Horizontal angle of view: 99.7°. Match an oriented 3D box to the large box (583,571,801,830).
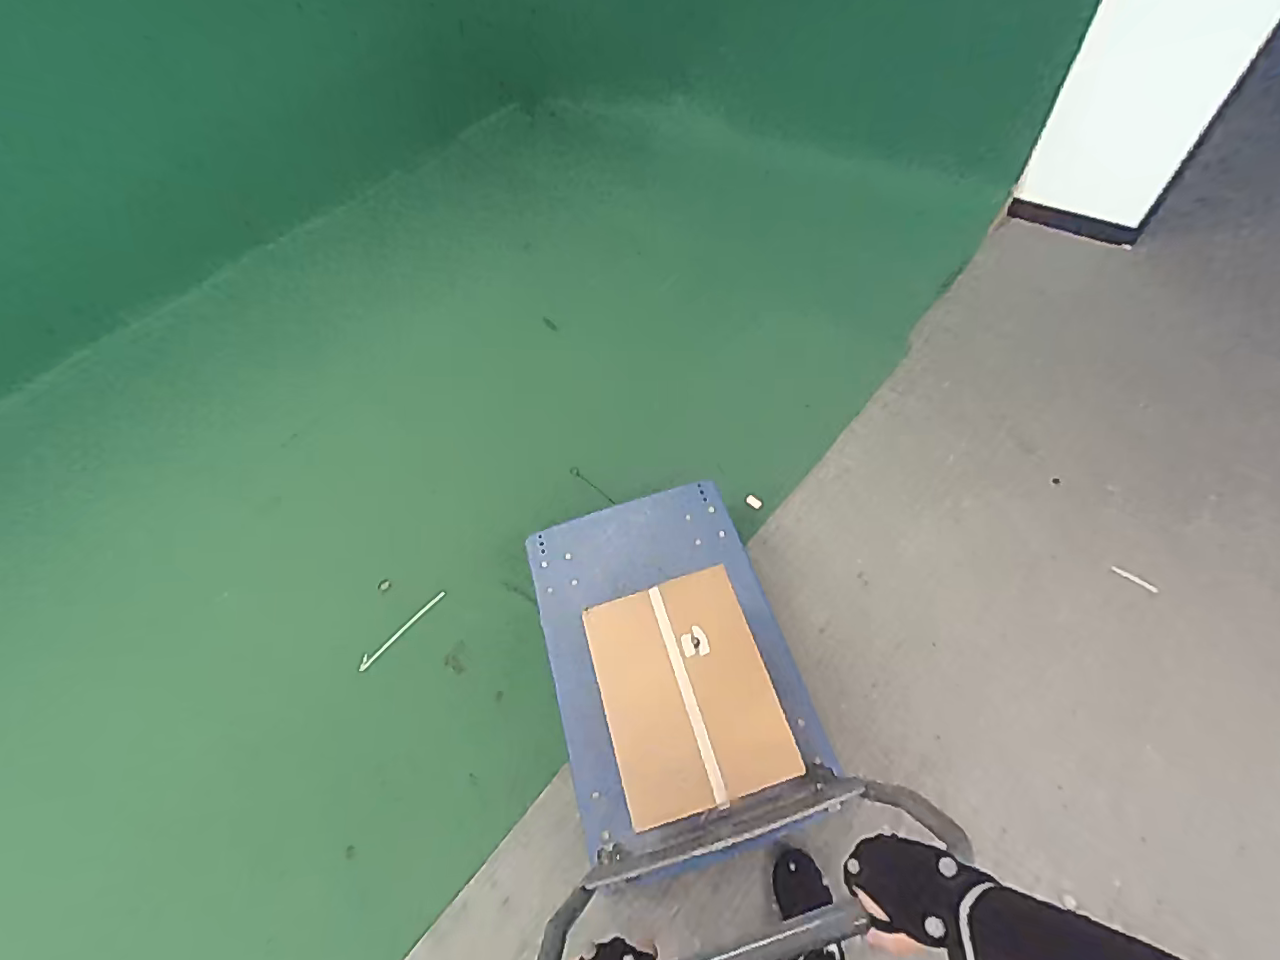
[{"bbox_3d":[0.102,0.470,1.162,0.320,0.320,0.408,-18,59,-3],"label":"large box"}]
